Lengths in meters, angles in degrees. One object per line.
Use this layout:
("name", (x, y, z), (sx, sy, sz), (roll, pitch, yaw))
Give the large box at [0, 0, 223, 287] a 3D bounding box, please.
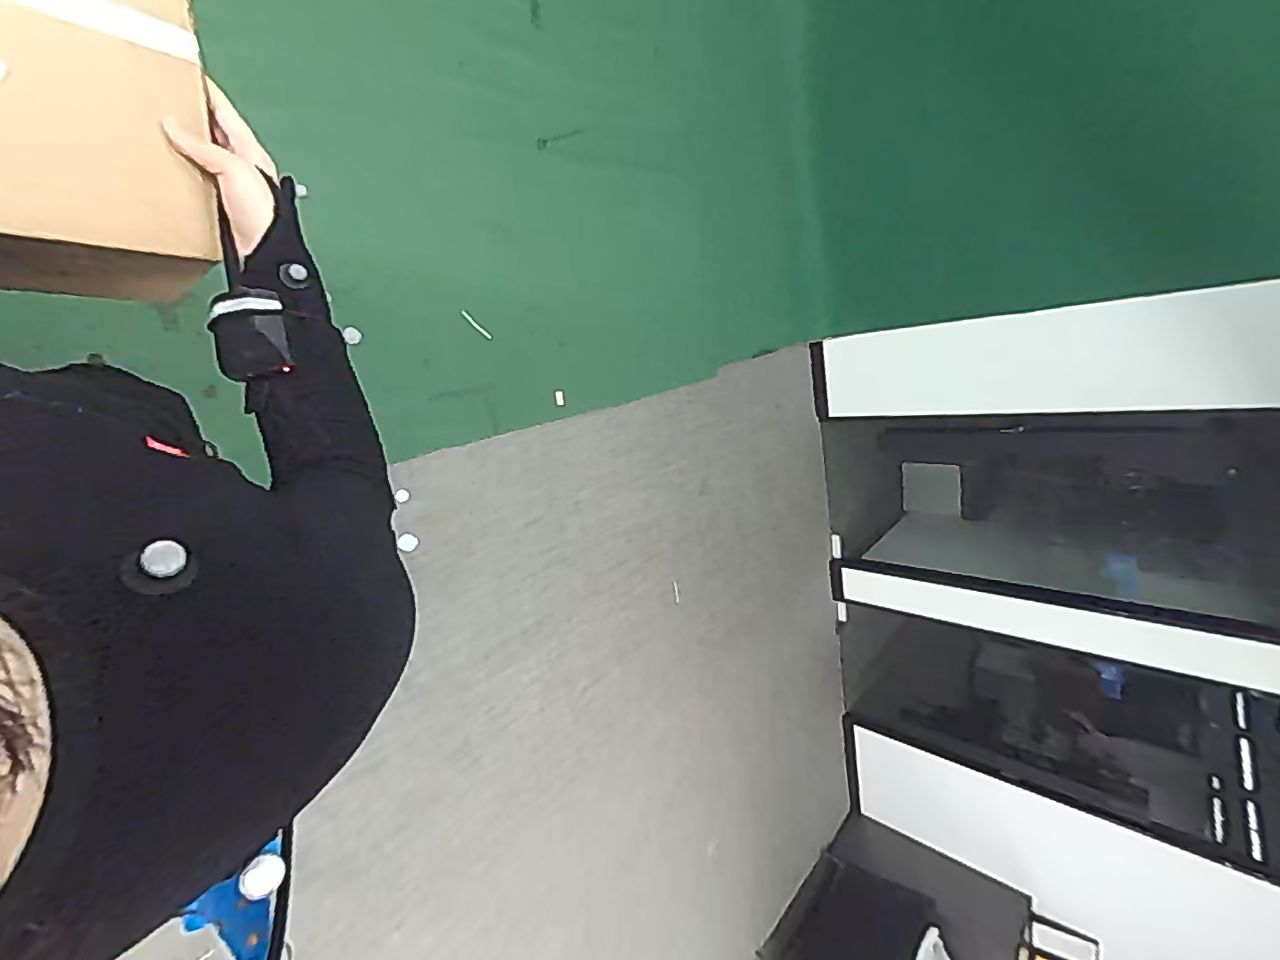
("large box", (-0.598, -0.334, 0.382), (0.408, 0.320, 0.320), (-12, 106, -47))
